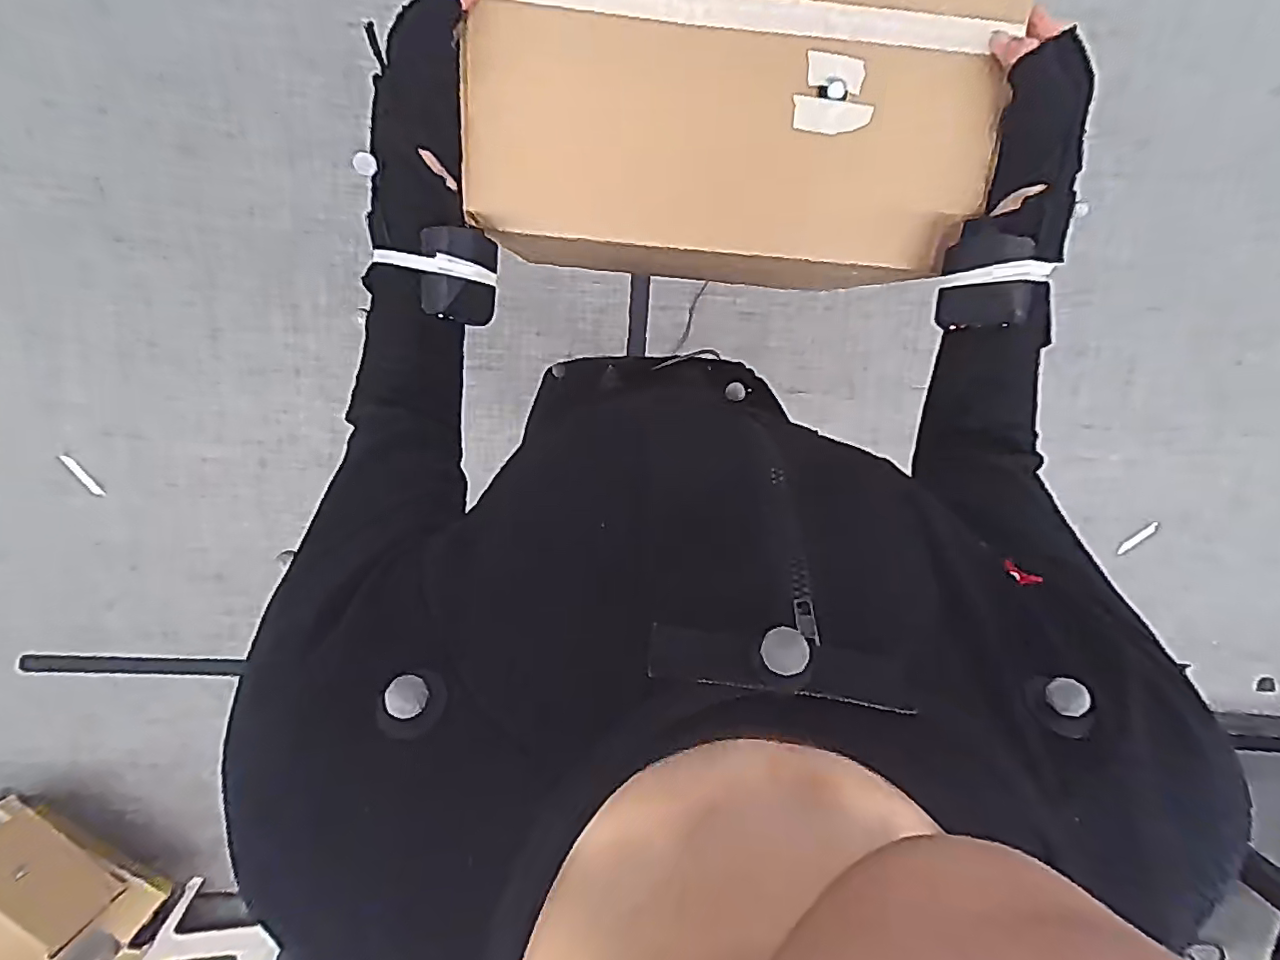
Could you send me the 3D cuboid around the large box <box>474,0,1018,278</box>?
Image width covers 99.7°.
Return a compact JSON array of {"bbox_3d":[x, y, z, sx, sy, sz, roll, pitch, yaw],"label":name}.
[{"bbox_3d":[0.069,-0.384,0.535,0.408,0.320,0.320,3,108,-5],"label":"large box"}]
